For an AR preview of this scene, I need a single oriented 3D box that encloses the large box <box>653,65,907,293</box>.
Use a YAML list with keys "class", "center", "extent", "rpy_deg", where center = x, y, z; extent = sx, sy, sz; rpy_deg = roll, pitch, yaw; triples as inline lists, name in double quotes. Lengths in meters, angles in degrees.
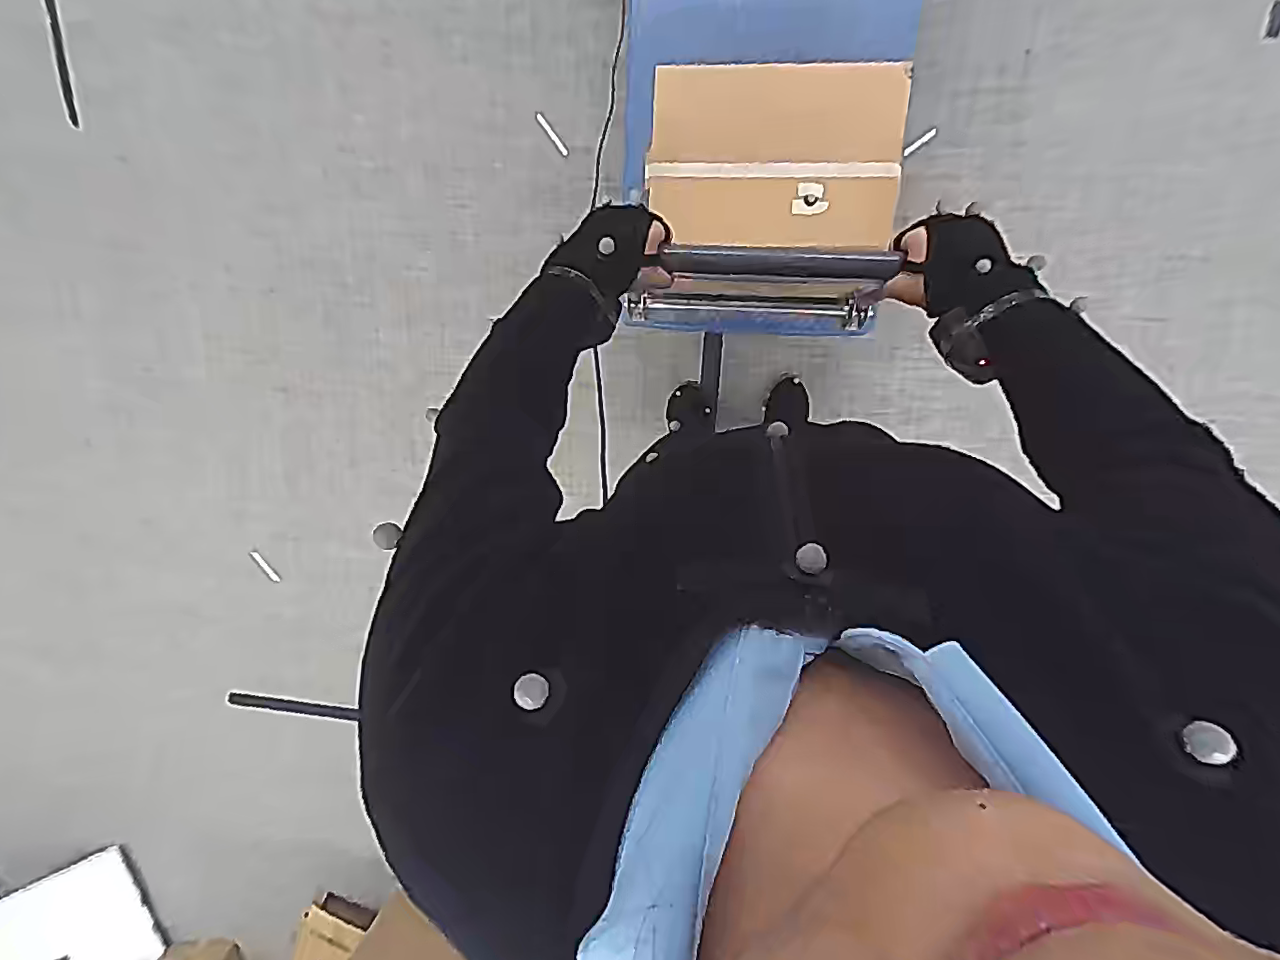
- class: "large box"
  center: [0.239, -0.545, 1.051]
  extent: [0.408, 0.320, 0.320]
  rpy_deg: [4, 103, 6]
